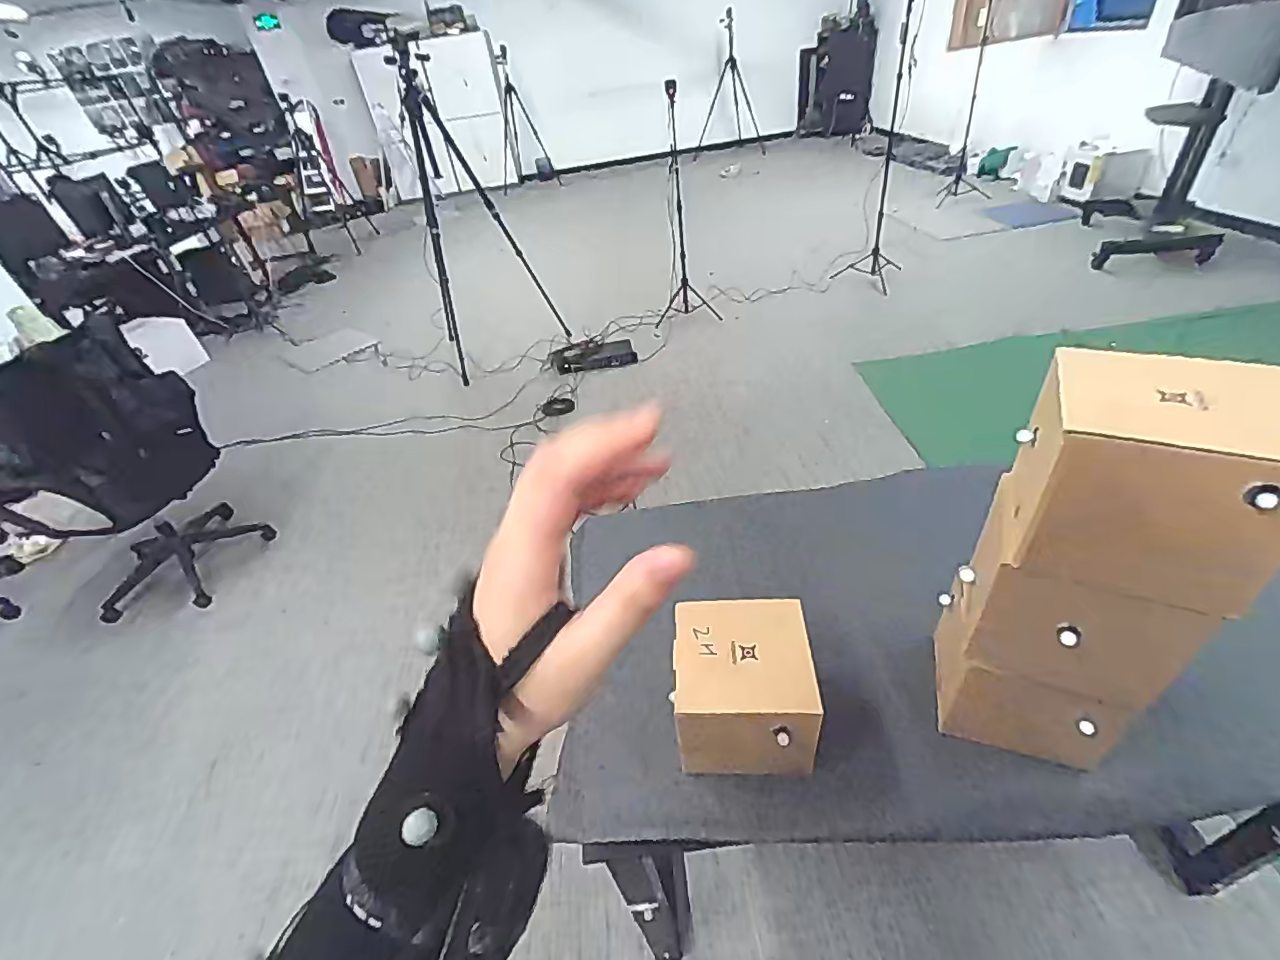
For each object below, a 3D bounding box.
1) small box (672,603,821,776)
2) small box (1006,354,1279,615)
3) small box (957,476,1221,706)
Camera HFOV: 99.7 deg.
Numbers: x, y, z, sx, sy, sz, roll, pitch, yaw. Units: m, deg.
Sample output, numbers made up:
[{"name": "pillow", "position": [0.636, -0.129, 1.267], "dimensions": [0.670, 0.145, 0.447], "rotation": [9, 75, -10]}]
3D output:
[{"name": "small box", "position": [0.139, 0.287, 0.743], "dimensions": [0.179, 0.176, 0.168], "rotation": [-3, 39, 8]}, {"name": "small box", "position": [0.467, -0.001, 0.510], "dimensions": [0.179, 0.176, 0.168], "rotation": [14, 43, 26]}, {"name": "small box", "position": [0.484, 0.124, 0.612], "dimensions": [0.179, 0.176, 0.168], "rotation": [13, 43, 27]}]
